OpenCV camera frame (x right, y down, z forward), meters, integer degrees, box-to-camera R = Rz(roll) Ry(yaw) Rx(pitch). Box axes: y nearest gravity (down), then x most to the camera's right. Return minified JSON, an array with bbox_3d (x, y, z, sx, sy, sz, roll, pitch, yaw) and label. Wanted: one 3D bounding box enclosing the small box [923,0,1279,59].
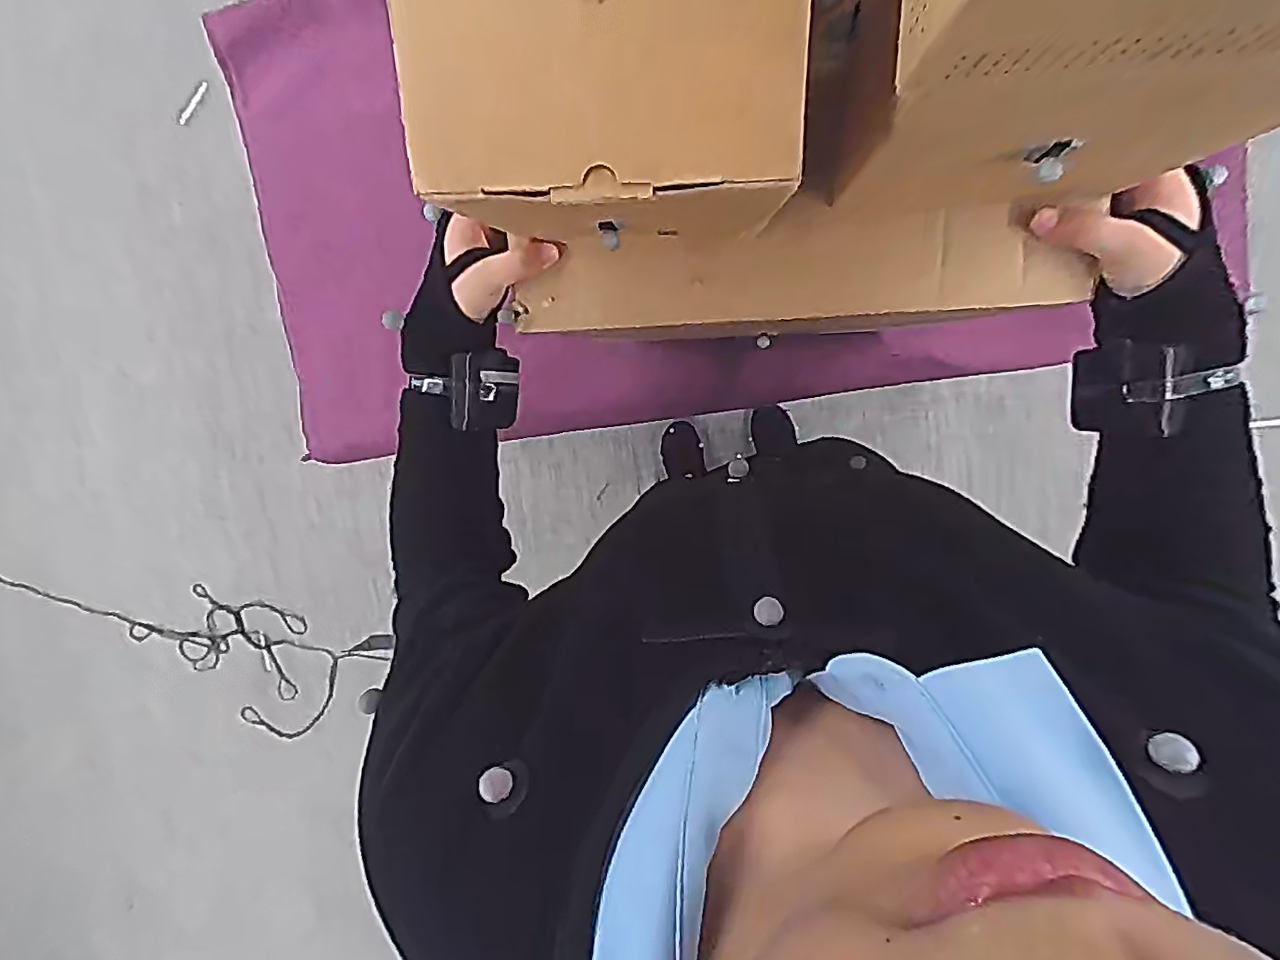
[{"bbox_3d":[0.170,-0.206,0.089,0.179,0.176,0.168,1,103,7],"label":"small box"}]
